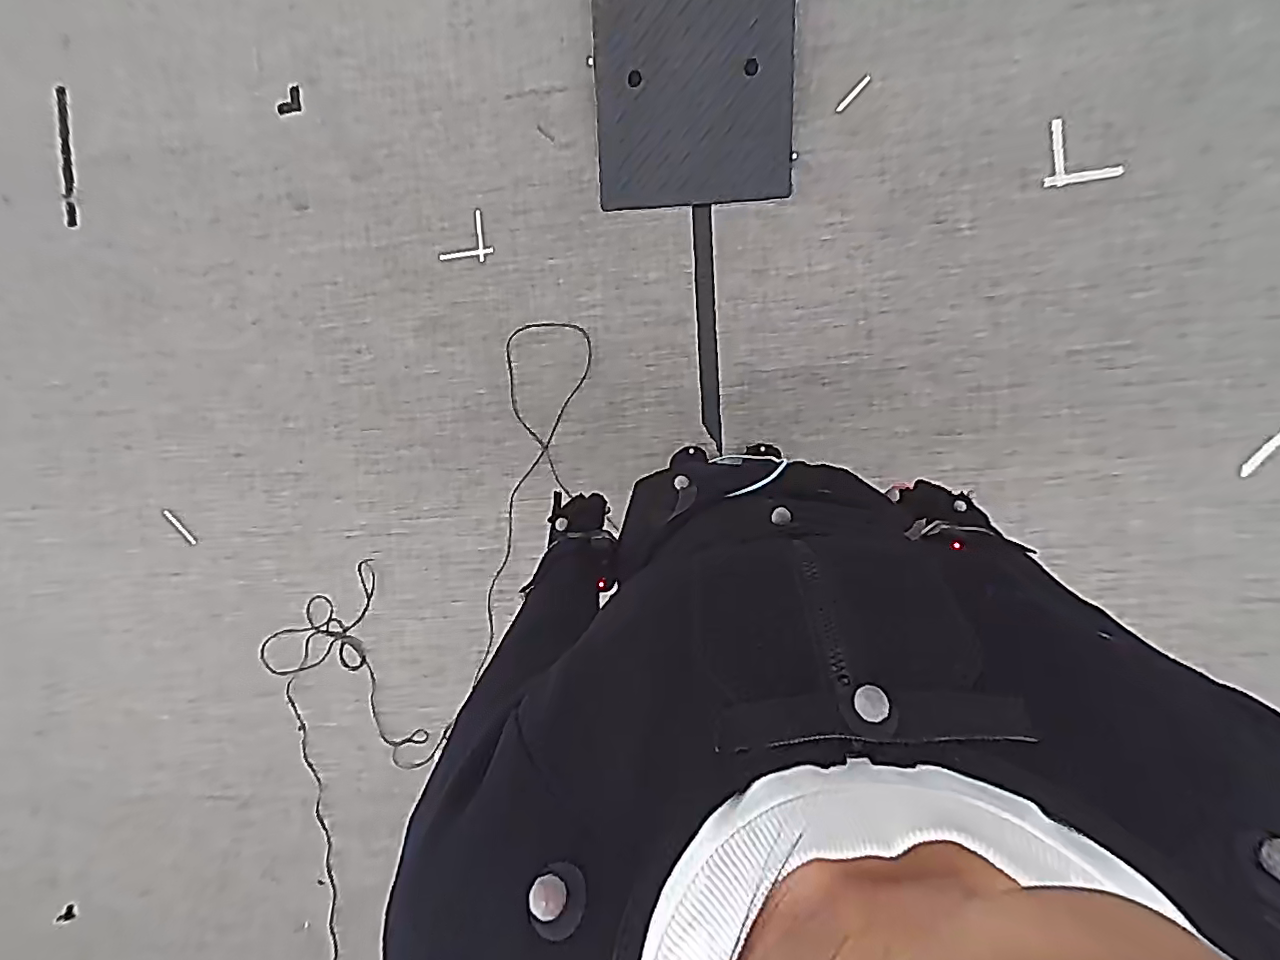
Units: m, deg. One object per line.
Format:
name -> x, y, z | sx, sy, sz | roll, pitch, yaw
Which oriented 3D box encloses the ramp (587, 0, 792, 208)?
ramp -> 0.113, -1.208, 1.285 | 0.509, 0.206, 0.991 | -3, 94, 5
